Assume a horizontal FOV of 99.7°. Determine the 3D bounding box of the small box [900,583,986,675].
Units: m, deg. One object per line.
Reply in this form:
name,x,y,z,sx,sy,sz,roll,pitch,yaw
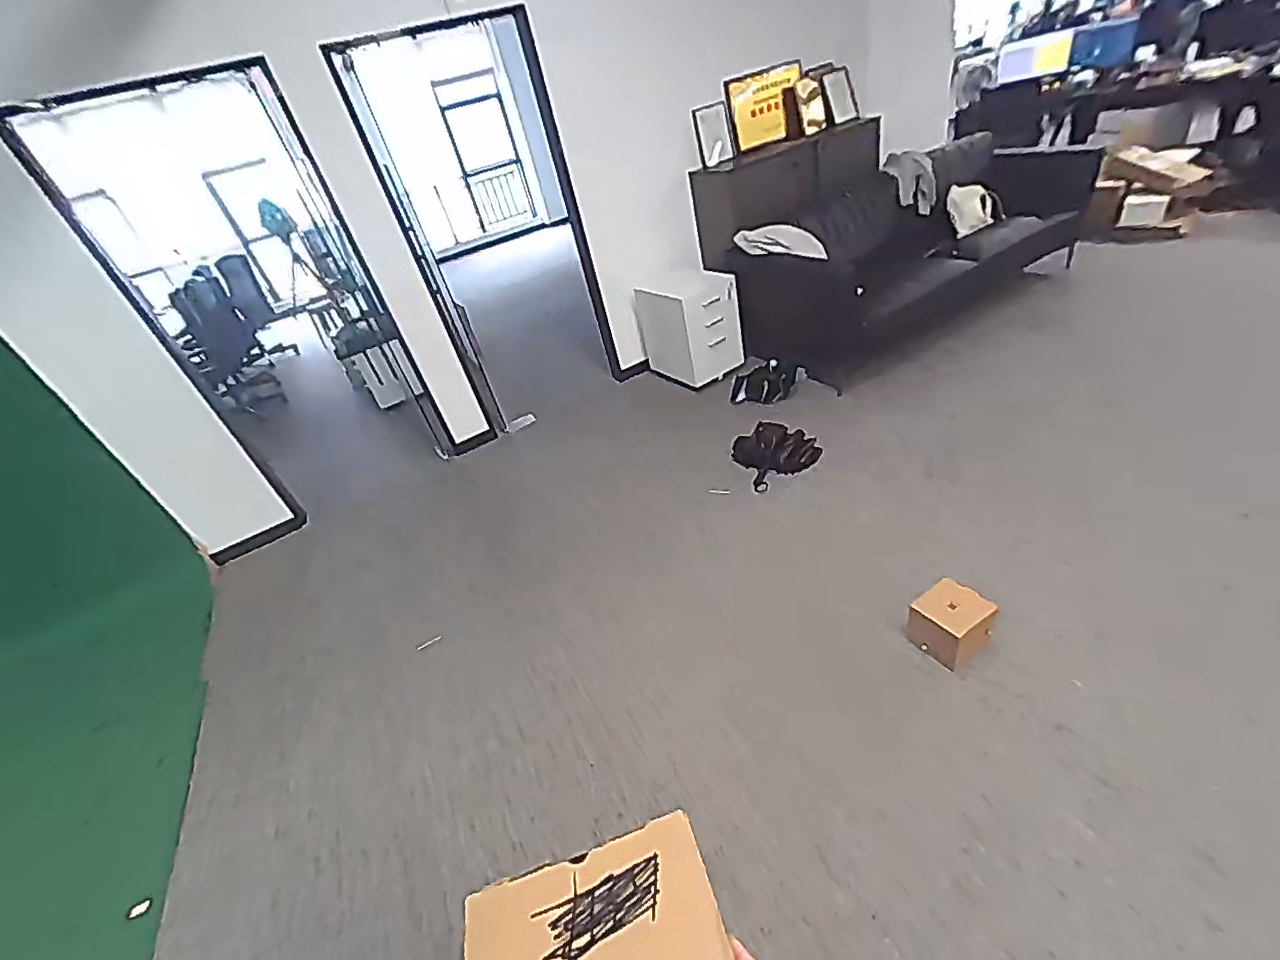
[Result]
small box,0.924,0.458,1.667,0.179,0.176,0.168,-29,36,-18
